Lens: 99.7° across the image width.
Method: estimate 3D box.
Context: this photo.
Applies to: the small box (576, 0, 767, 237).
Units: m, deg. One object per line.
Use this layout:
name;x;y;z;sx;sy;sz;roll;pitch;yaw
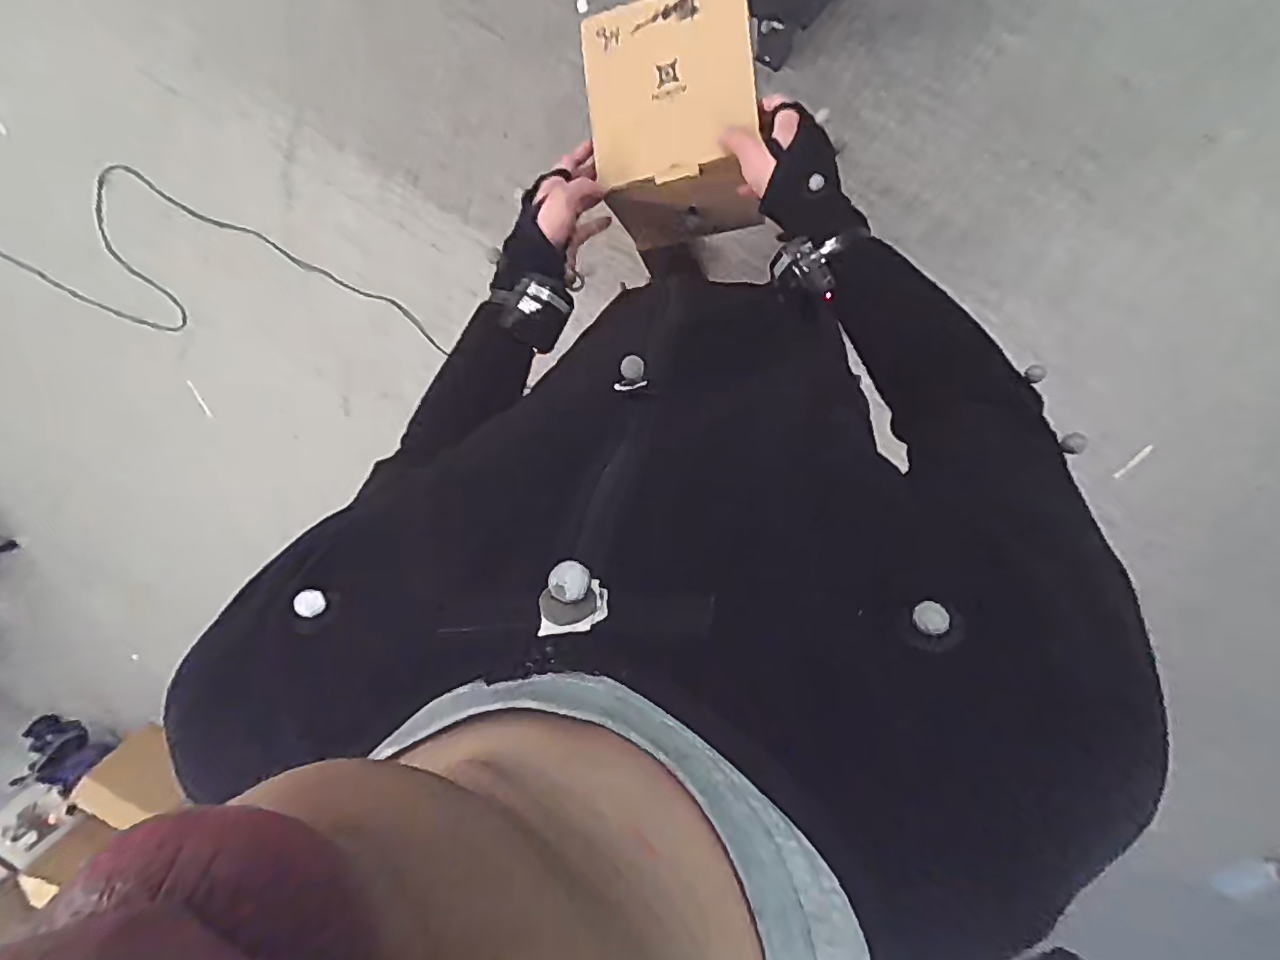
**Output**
small box;0.045;-0.385;0.585;0.168;0.176;0.179;-6;92;16
